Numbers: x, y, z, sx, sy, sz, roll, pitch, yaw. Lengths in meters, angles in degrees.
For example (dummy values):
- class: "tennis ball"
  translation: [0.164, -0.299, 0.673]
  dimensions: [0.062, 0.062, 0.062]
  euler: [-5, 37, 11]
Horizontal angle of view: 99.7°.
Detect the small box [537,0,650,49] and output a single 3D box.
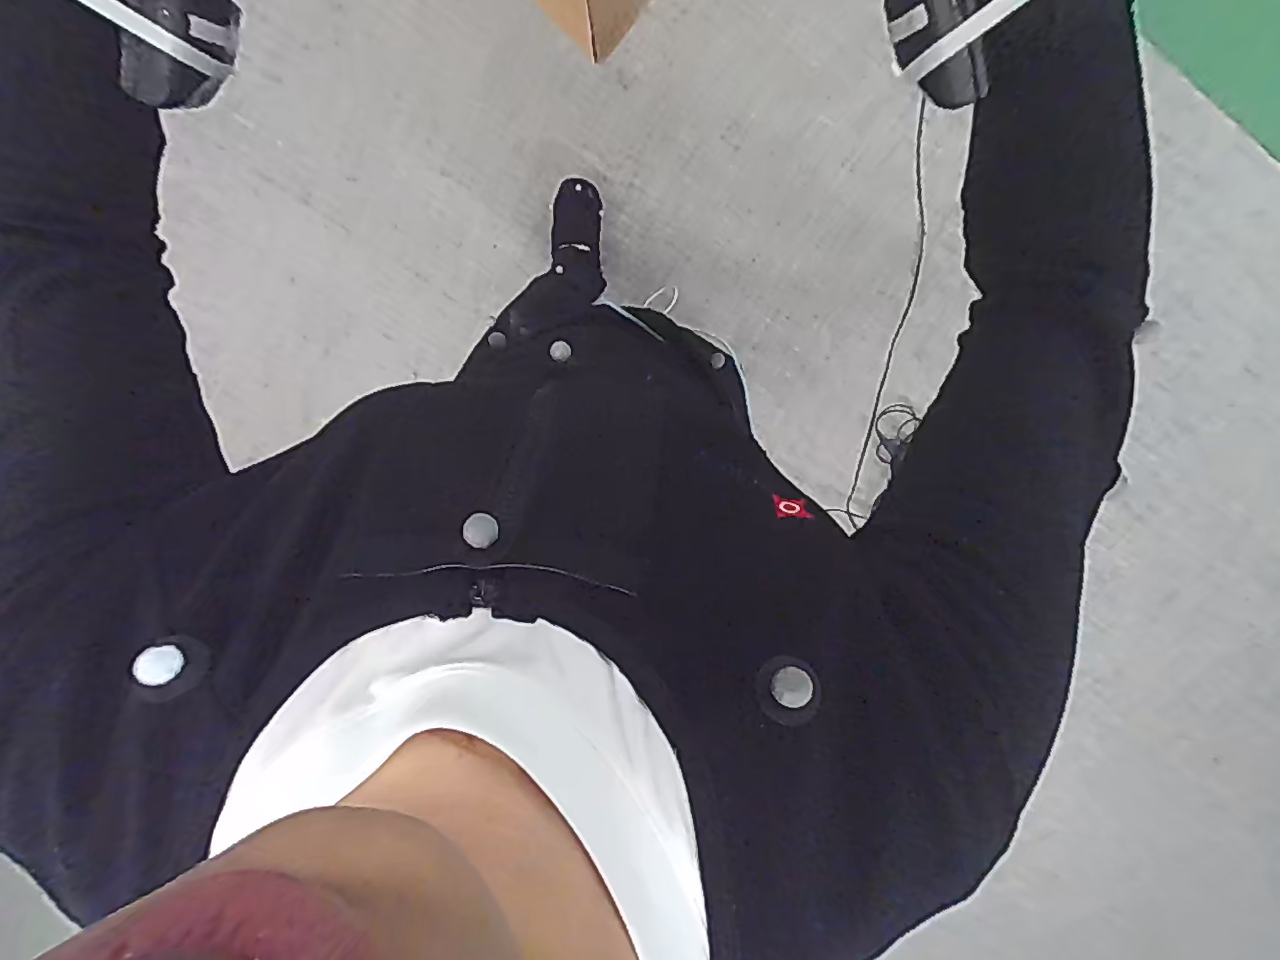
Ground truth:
- class: "small box"
  translation: [-0.036, -0.381, 0.270]
  dimensions: [0.179, 0.176, 0.168]
  euler: [42, 101, -12]
